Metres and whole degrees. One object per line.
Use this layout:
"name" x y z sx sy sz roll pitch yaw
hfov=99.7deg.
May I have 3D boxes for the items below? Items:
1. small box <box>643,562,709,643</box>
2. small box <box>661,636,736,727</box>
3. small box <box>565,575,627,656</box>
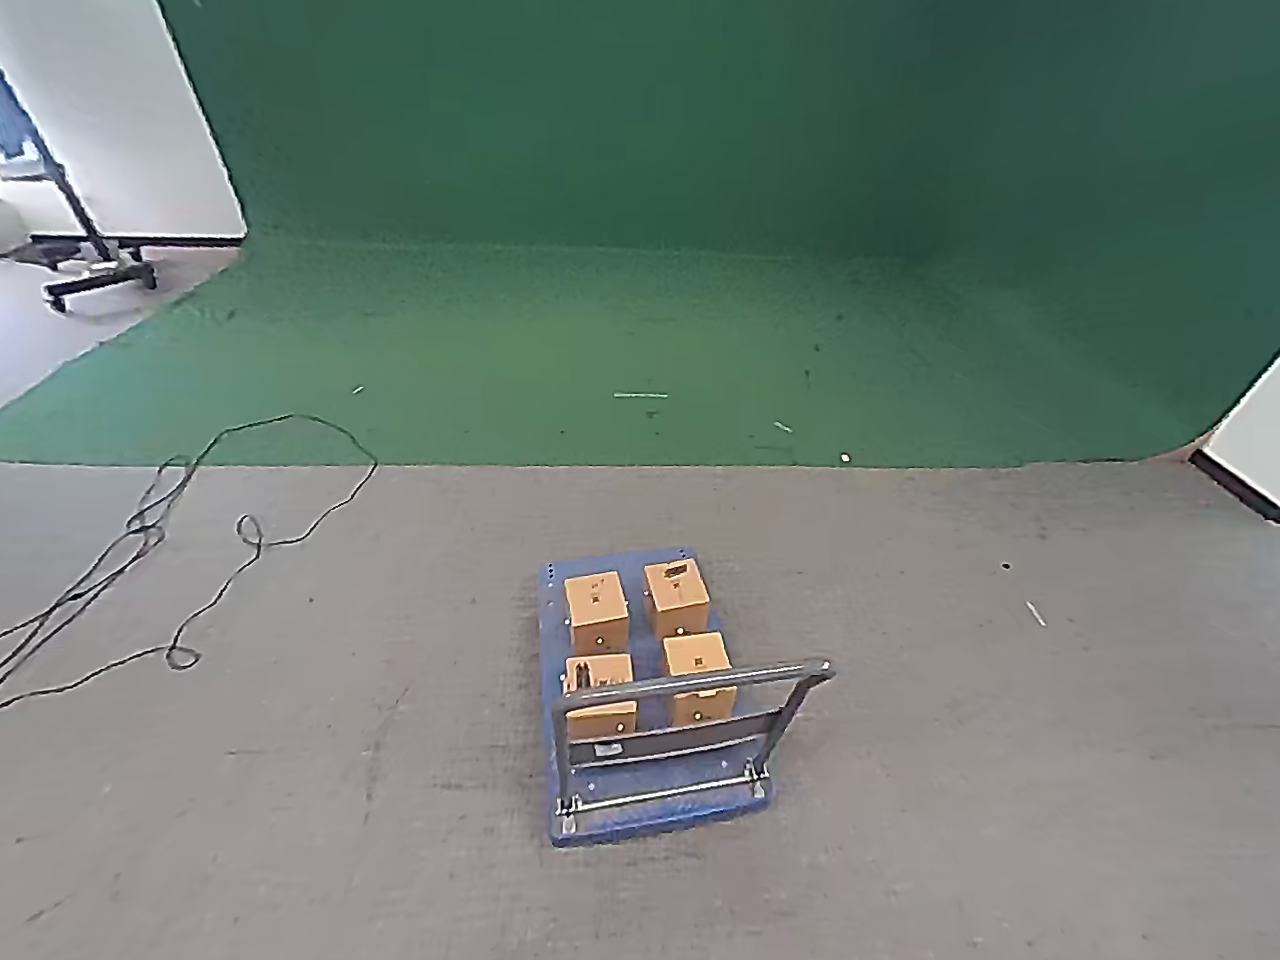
"small box" 0.108 0.393 1.729 0.168 0.176 0.179 -8 42 -11
"small box" 0.156 0.568 1.529 0.168 0.176 0.179 -4 41 -9
"small box" -0.136 0.426 1.677 0.168 0.176 0.179 -7 41 -12
